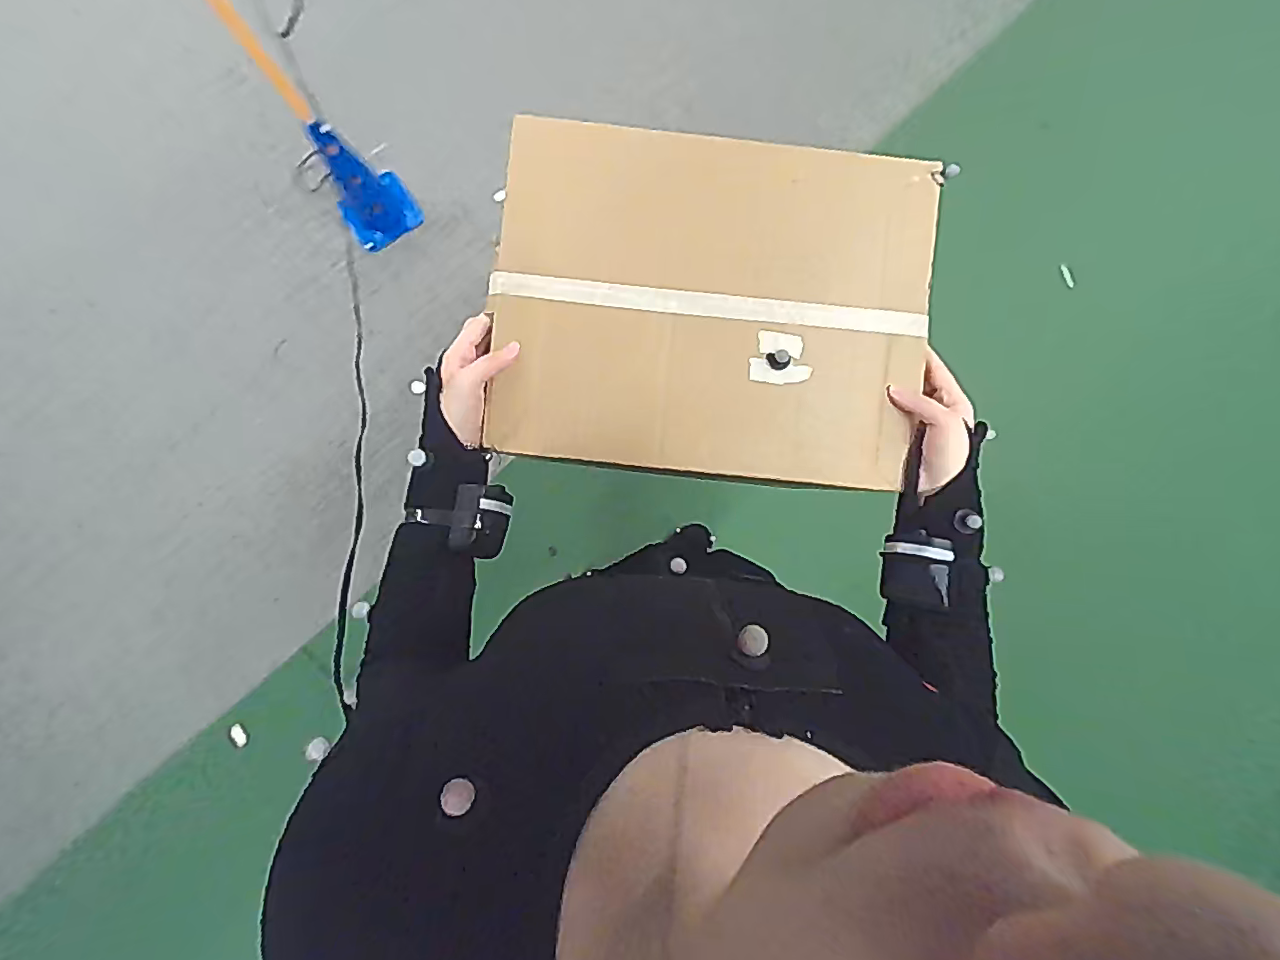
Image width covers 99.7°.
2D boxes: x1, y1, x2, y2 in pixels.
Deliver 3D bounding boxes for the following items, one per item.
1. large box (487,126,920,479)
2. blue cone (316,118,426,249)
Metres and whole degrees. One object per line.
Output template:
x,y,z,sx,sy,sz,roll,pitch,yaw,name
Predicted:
0.056,-0.167,0.660,0.408,0.320,0.320,4,90,-2,large box
-0.752,-0.820,1.448,0.193,0.380,0.192,-33,86,-4,blue cone
